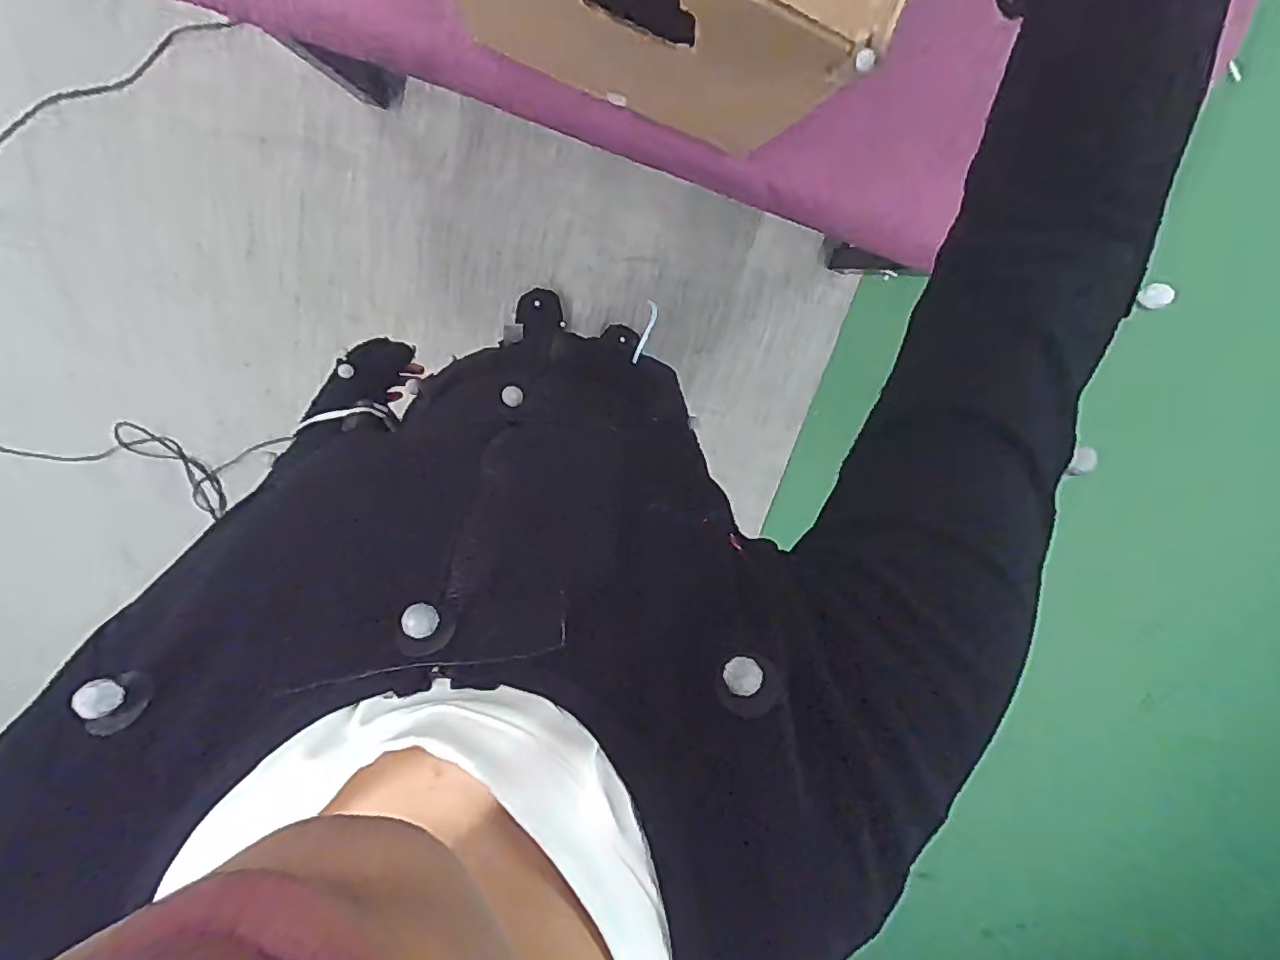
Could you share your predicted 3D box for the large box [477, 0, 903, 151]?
[{"bbox_3d":[0.062,-0.544,0.403,0.320,0.320,0.408,17,109,-12],"label":"large box"}]
